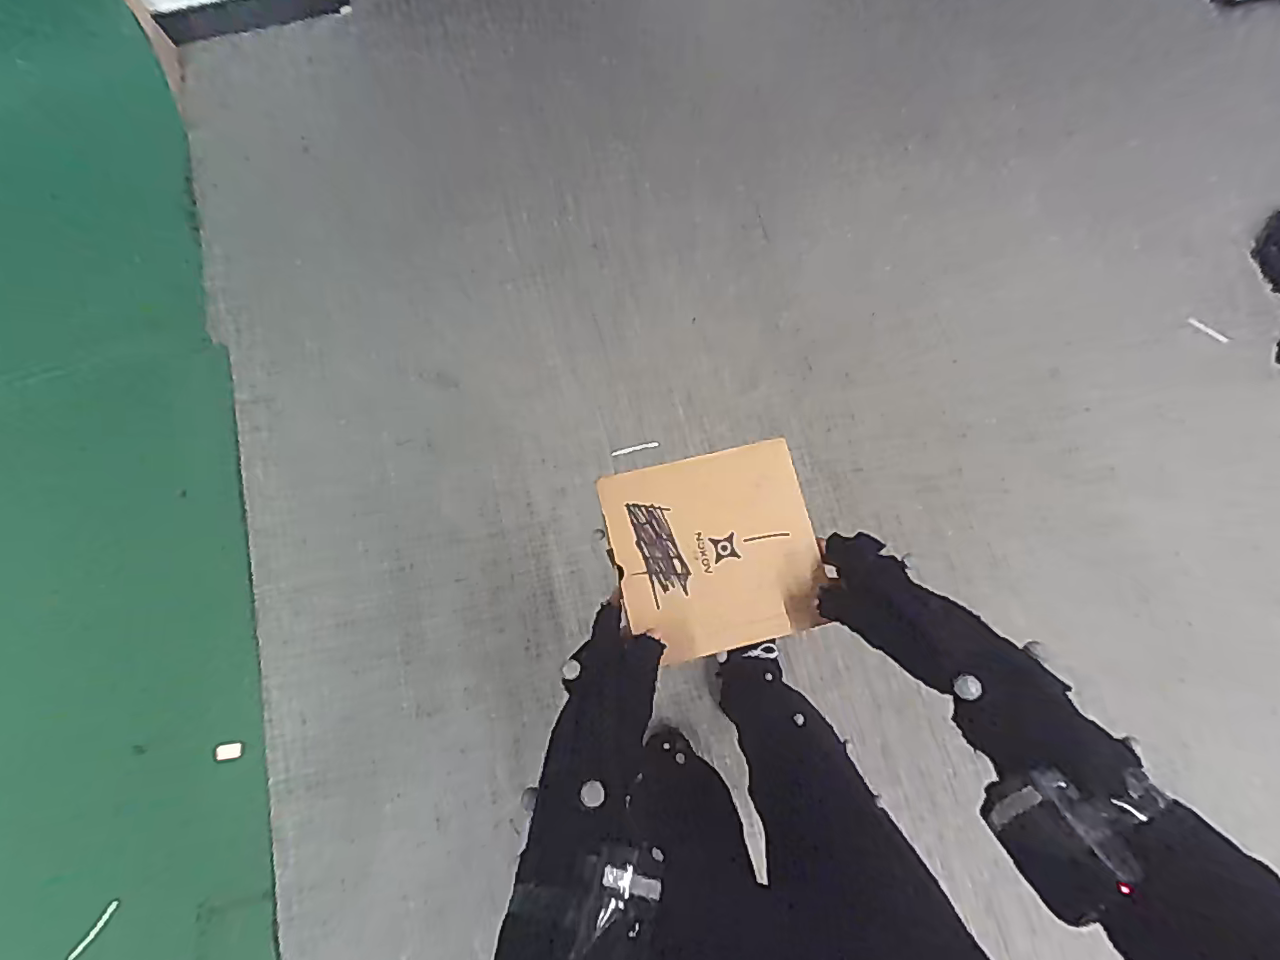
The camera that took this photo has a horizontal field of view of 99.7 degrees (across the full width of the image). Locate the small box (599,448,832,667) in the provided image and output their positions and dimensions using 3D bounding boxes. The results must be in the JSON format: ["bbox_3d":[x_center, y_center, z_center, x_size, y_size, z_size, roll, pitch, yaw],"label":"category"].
[{"bbox_3d":[0.064,0.083,0.554,0.179,0.176,0.168,-13,78,-4],"label":"small box"}]
